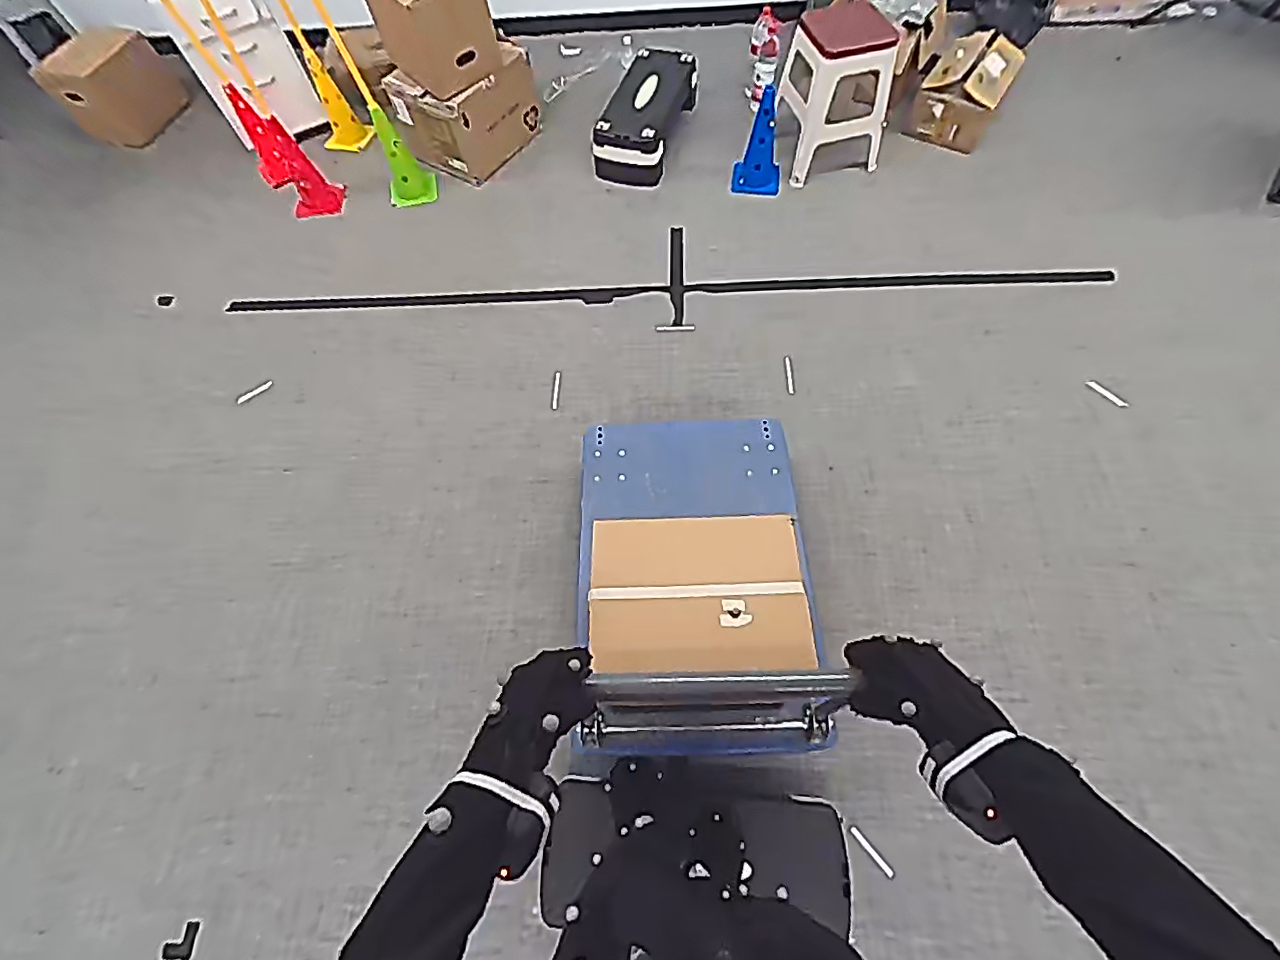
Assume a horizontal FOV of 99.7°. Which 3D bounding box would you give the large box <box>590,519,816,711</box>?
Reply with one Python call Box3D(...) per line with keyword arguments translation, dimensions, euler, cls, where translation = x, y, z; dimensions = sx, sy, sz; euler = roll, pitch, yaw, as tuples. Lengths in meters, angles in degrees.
Box3D(translation=(0.108, 0.295, 1.143), dimensions=(0.408, 0.320, 0.320), euler=(-2, 60, 1), cls="large box")
